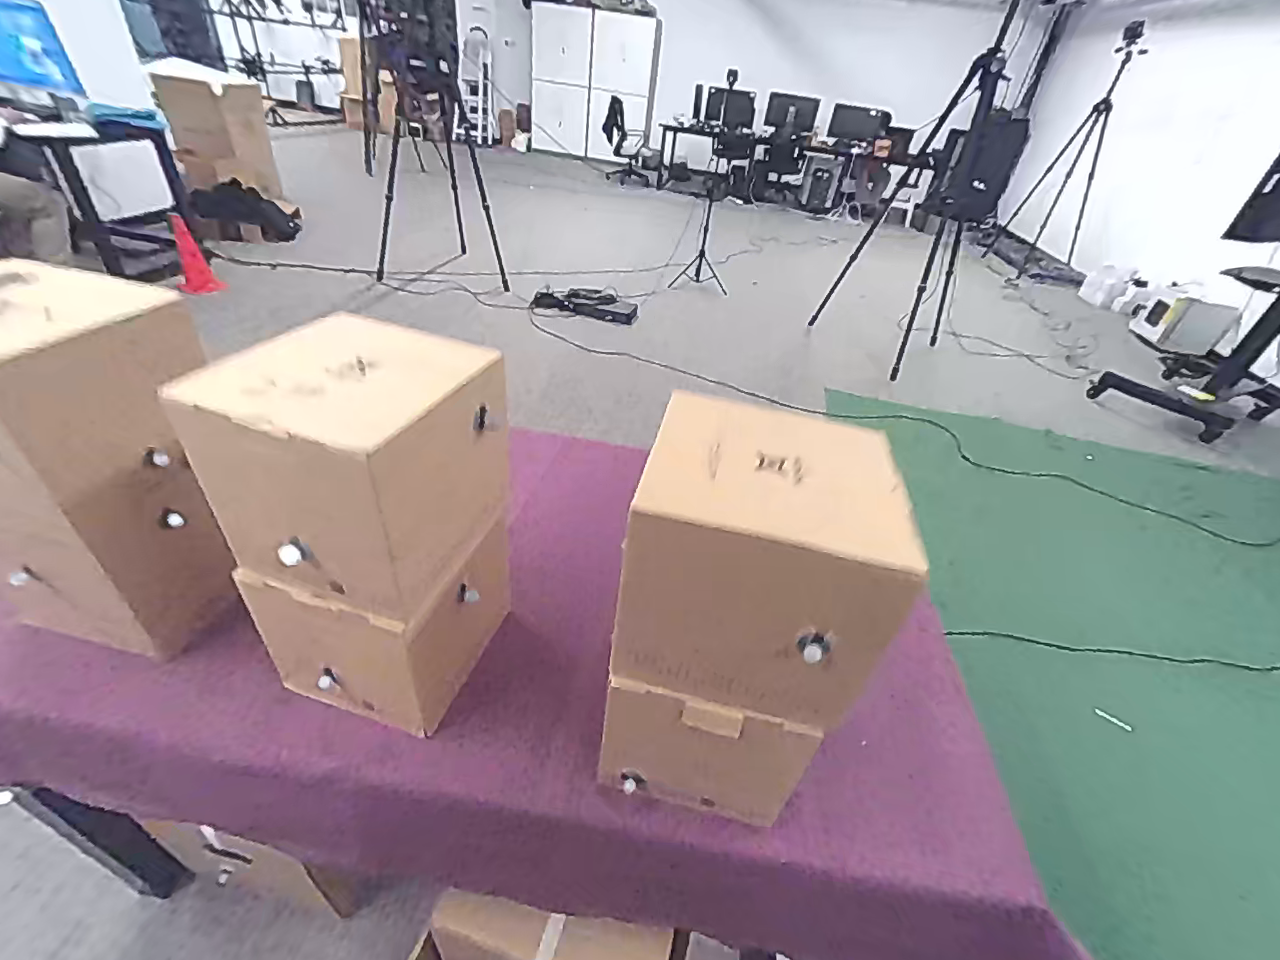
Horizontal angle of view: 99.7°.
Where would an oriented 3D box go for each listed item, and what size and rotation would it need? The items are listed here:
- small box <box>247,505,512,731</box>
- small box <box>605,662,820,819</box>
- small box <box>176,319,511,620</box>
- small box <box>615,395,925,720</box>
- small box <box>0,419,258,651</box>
[{"bbox_3d":[-0.246,0.118,0.560,0.168,0.176,0.179,15,39,9],"label":"small box"},{"bbox_3d":[0.065,0.189,0.521,0.168,0.176,0.179,12,36,6],"label":"small box"},{"bbox_3d":[-0.225,-0.015,0.466,0.168,0.176,0.179,15,39,11],"label":"small box"},{"bbox_3d":[0.087,0.059,0.424,0.179,0.176,0.168,12,36,7],"label":"small box"},{"bbox_3d":[-0.537,0.058,0.583,0.179,0.176,0.168,12,38,6],"label":"small box"}]
